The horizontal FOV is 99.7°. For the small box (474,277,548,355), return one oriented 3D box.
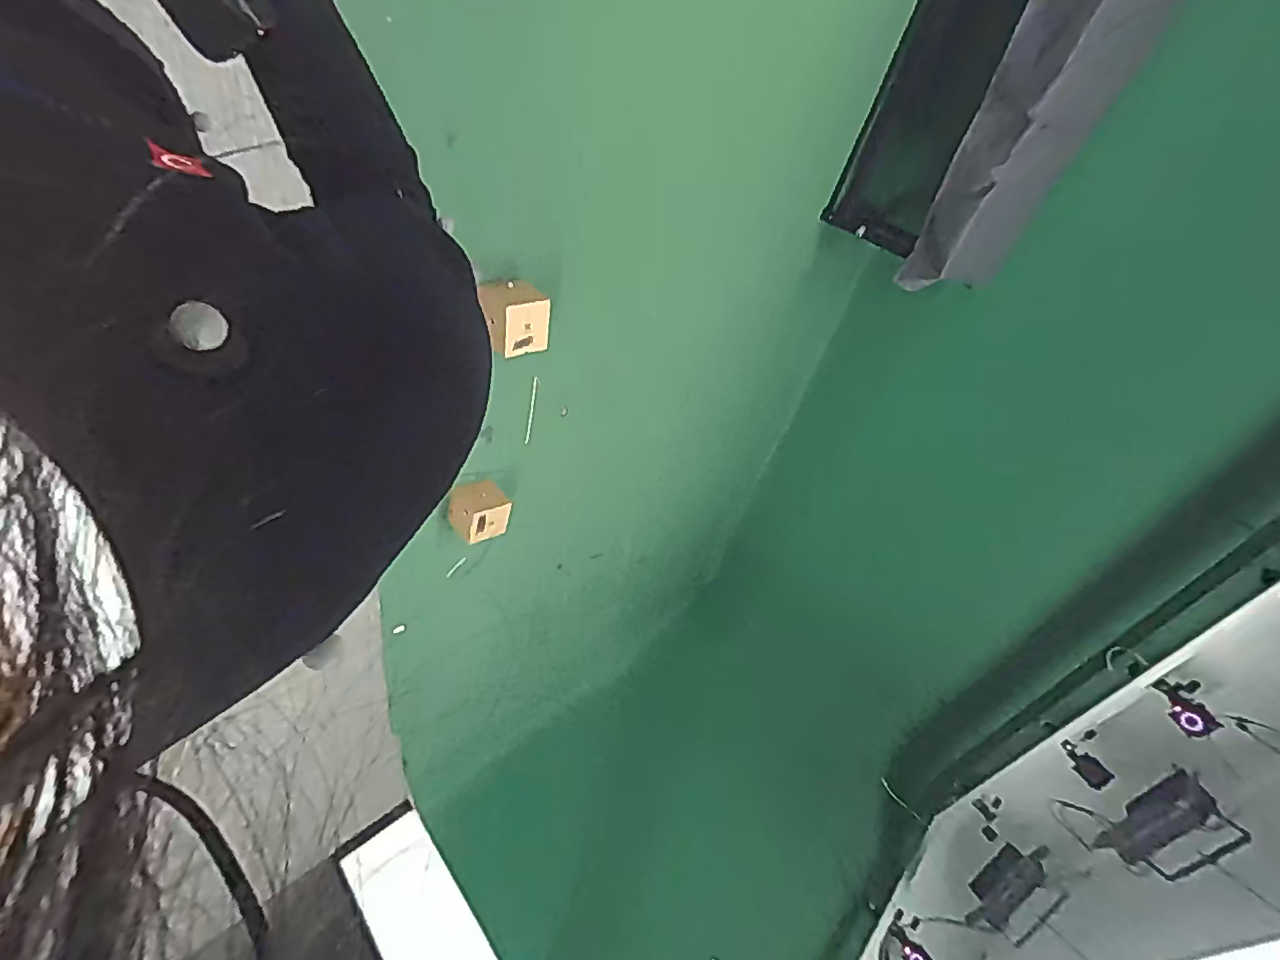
[{"bbox_3d":[-0.420,-0.531,1.739,0.168,0.176,0.179,-25,143,-38],"label":"small box"}]
